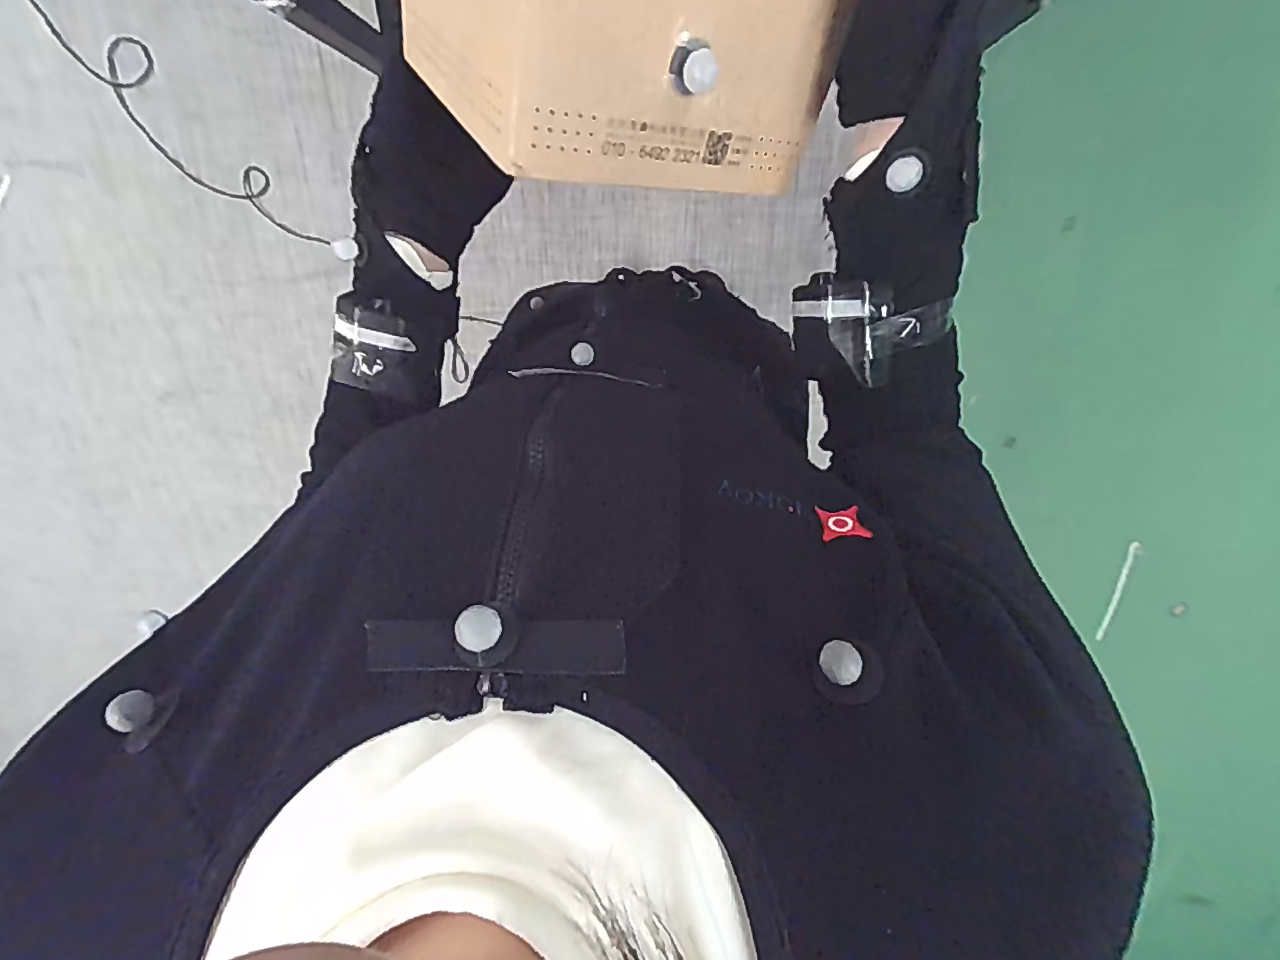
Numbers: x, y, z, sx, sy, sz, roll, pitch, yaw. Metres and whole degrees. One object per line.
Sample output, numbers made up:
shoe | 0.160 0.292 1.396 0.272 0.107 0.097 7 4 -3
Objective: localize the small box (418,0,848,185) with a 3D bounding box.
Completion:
small box | -0.007 -0.271 0.266 0.168 0.179 0.176 -15 143 -30
